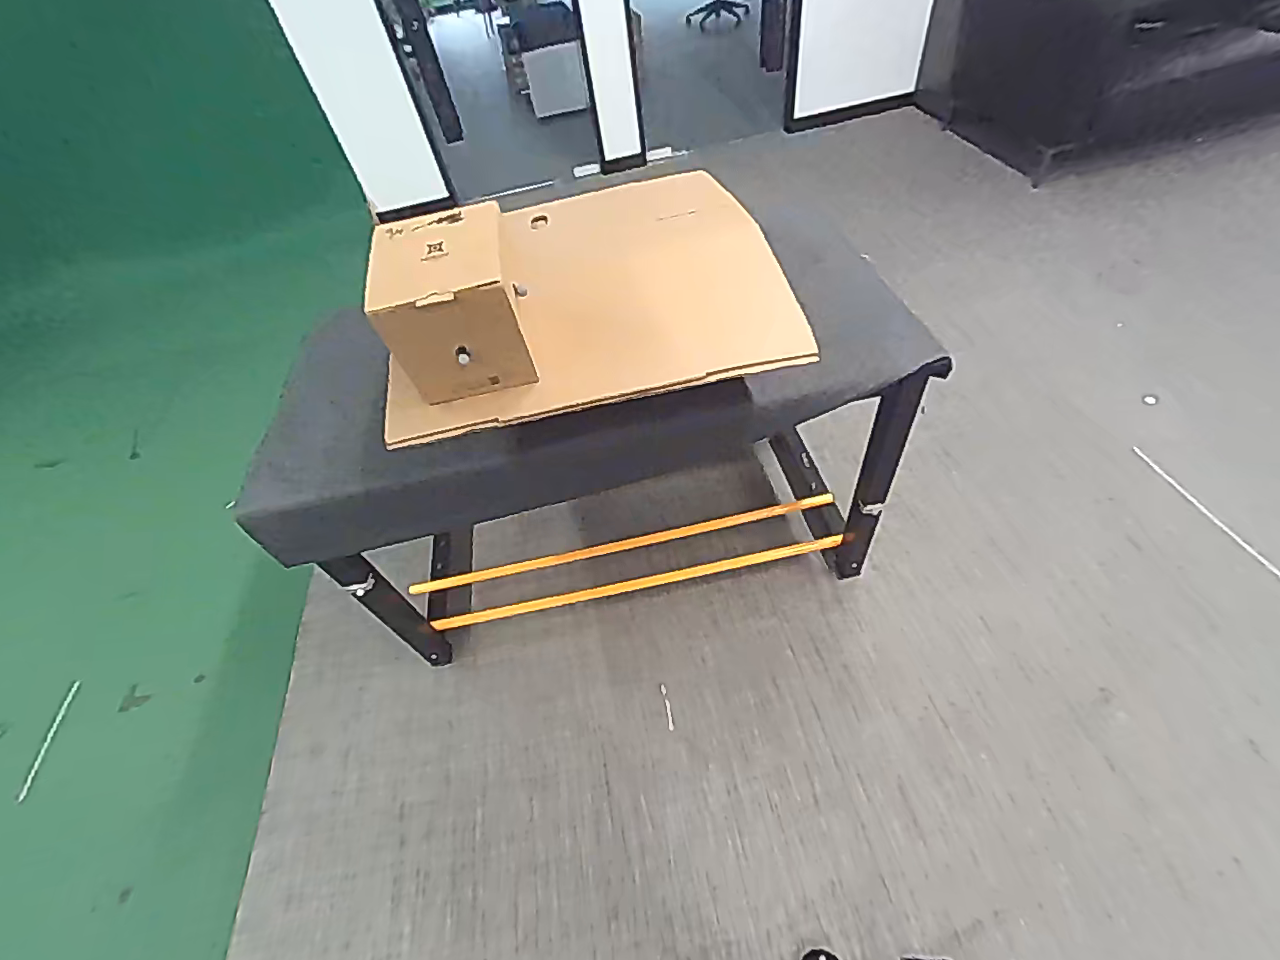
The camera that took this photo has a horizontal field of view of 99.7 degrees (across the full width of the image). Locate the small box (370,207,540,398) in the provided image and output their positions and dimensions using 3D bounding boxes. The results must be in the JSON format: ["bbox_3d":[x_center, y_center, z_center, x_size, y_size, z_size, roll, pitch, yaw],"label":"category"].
[{"bbox_3d":[-0.242,-0.231,0.739,0.168,0.176,0.179,-13,58,-1],"label":"small box"}]
